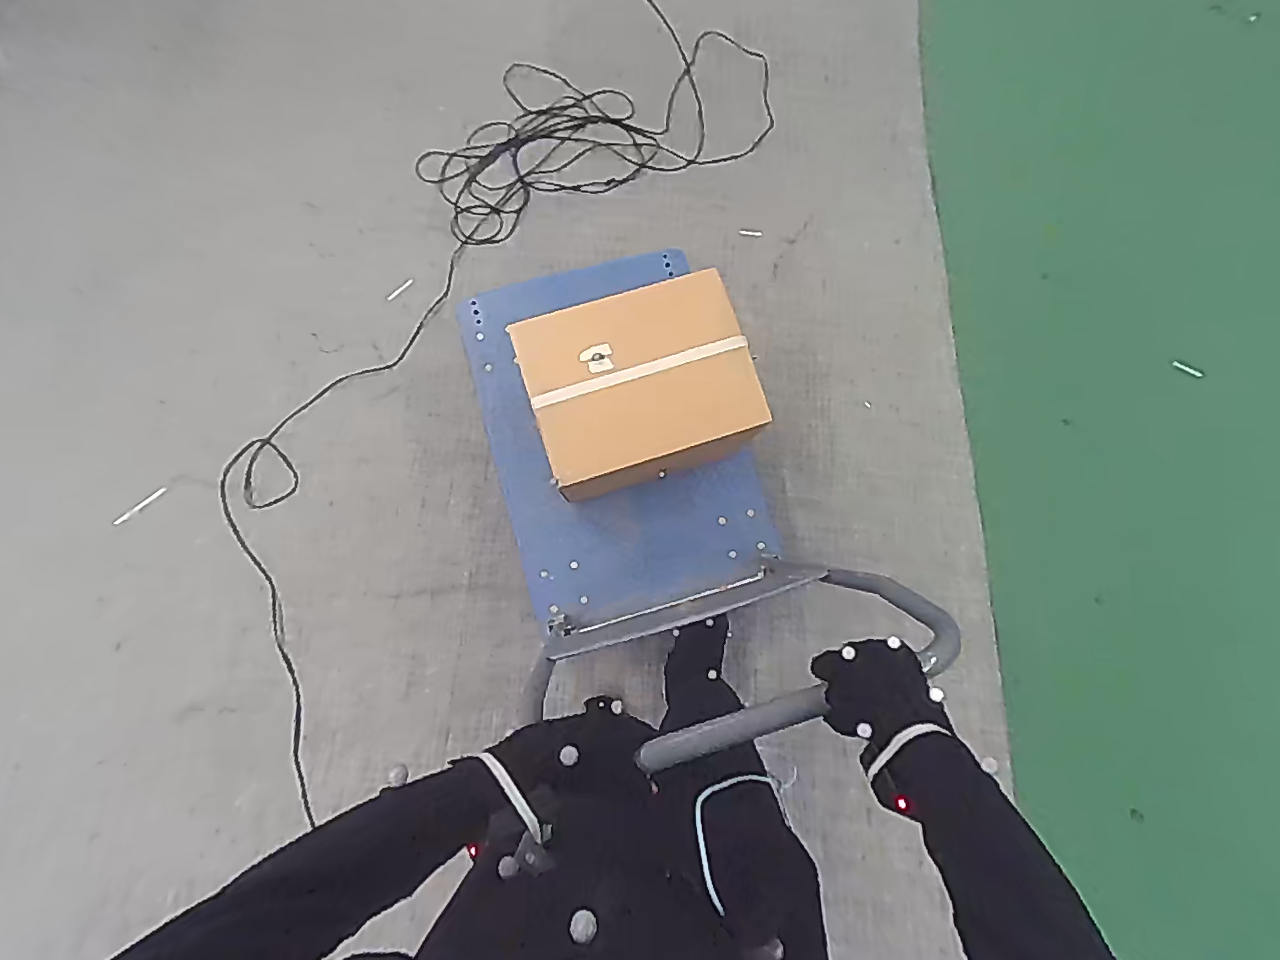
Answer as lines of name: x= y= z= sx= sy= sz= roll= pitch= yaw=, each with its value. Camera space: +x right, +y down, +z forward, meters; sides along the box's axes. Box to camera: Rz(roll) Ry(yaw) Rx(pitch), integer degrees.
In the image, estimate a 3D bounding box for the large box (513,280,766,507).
large box: x=-0.004 y=-0.157 z=1.139 sx=0.408 sy=0.320 sz=0.320 roll=-18 pitch=82 yaw=-4
